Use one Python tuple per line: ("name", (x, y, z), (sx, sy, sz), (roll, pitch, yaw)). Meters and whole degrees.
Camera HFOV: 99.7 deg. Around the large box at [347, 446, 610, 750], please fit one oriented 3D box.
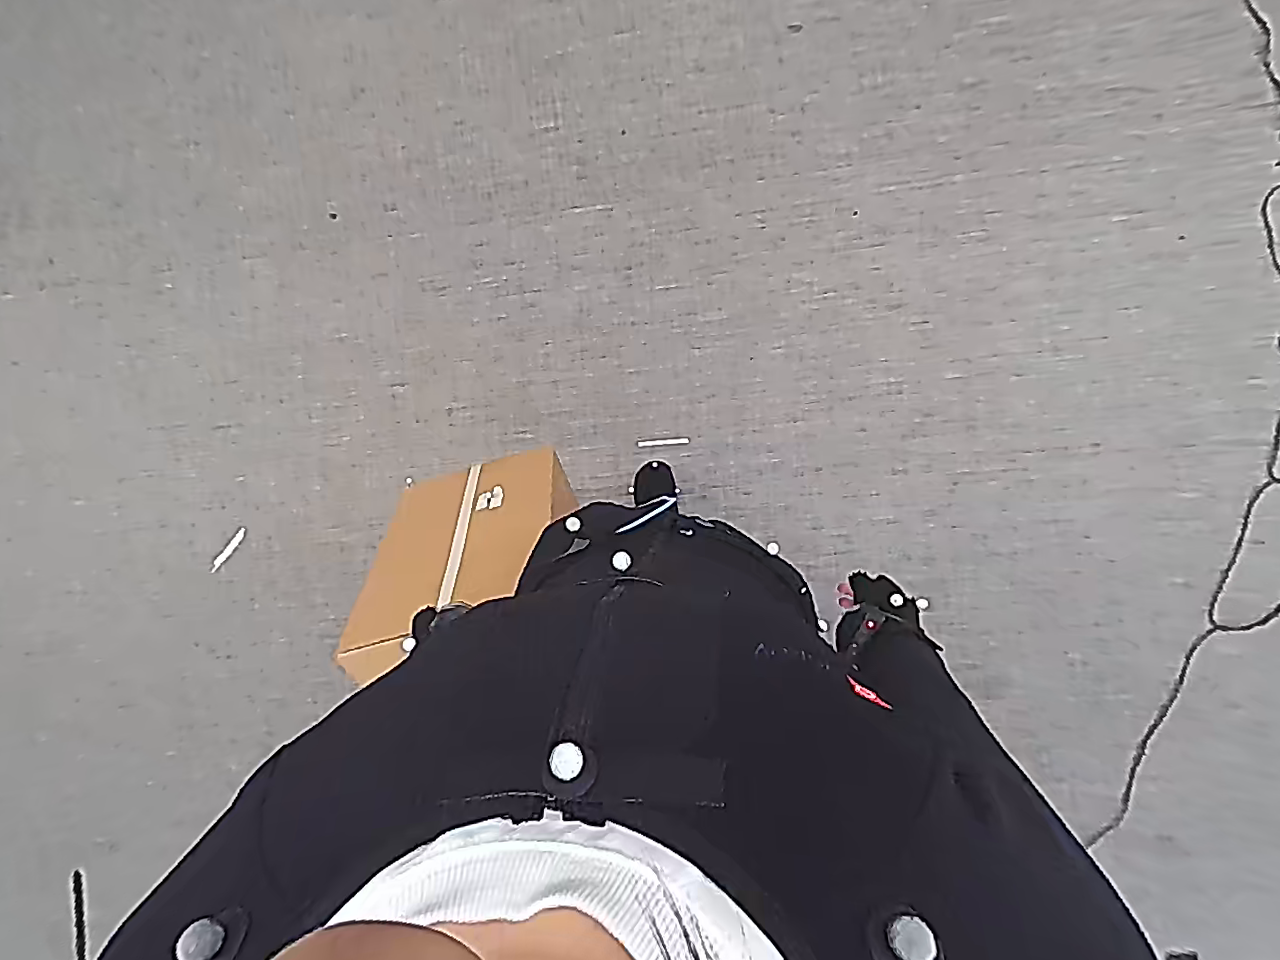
("large box", (-0.253, 0.200, 0.994), (0.320, 0.408, 0.320), (-14, 125, 3))
